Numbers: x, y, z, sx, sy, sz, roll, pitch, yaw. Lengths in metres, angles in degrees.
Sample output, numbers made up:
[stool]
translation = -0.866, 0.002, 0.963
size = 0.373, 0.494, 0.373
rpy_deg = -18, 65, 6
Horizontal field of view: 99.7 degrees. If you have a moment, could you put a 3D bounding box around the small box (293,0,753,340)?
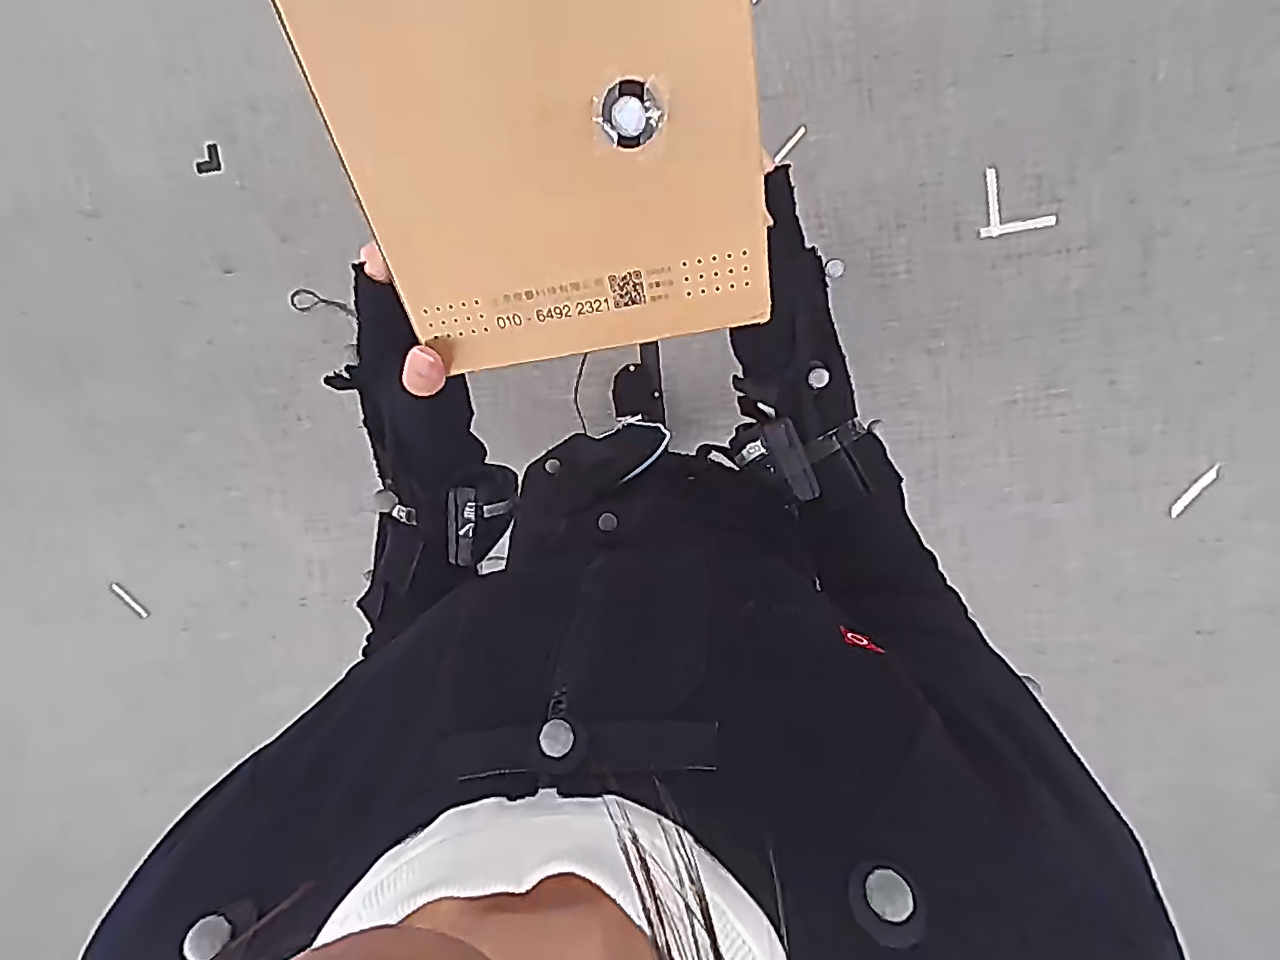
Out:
[small box]
translation = -0.032, -0.186, 0.296
size = 0.168, 0.179, 0.176
rpy_deg = -6, 124, 10
